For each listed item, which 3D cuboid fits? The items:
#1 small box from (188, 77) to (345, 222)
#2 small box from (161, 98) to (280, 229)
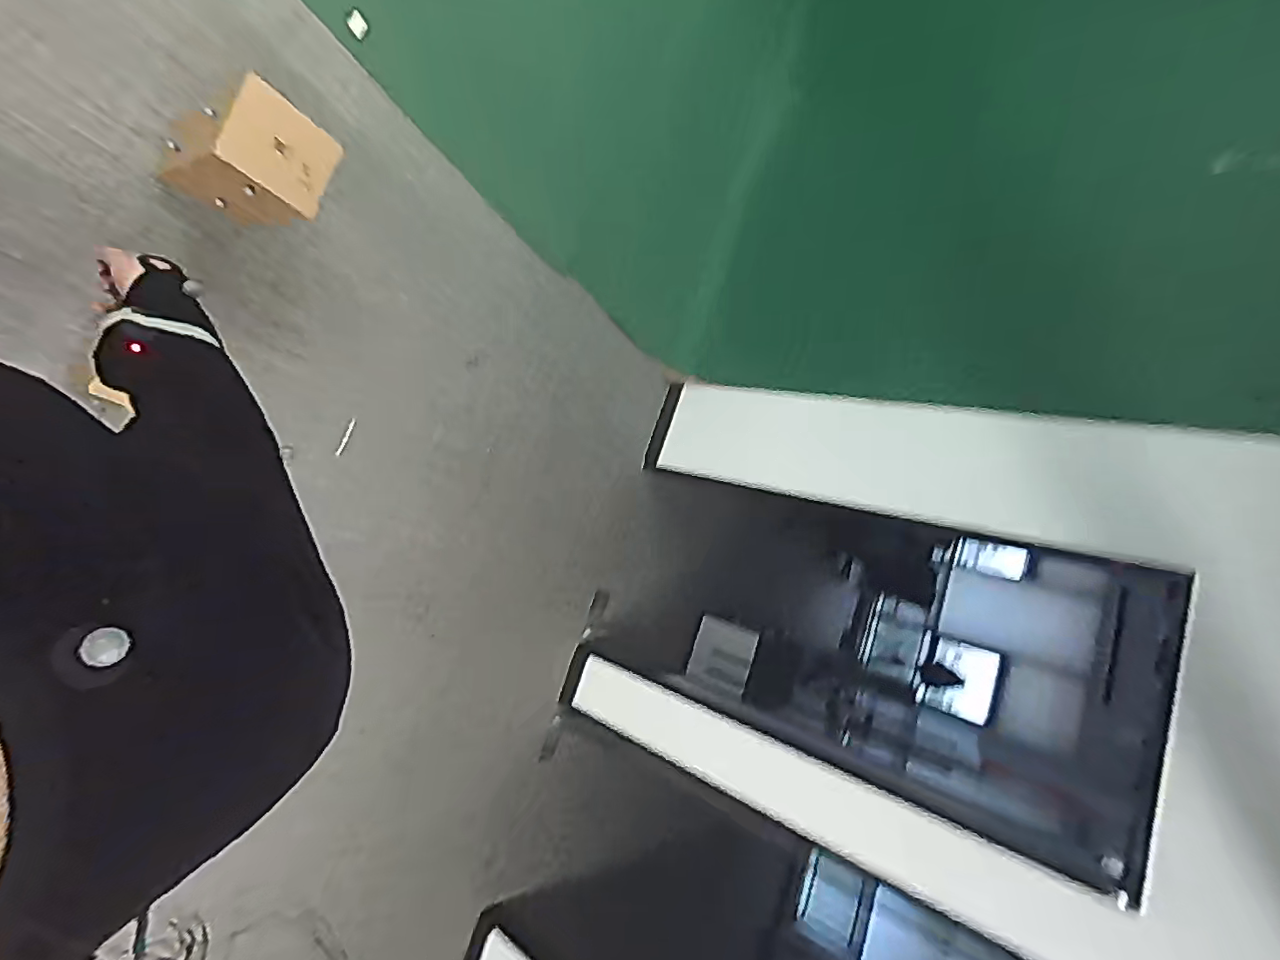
[{"bbox_3d":[-0.728,-0.626,1.053,0.179,0.176,0.168,31,77,-55],"label":"small box"},{"bbox_3d":[-0.860,-0.655,1.147,0.179,0.176,0.168,34,74,-55],"label":"small box"}]
